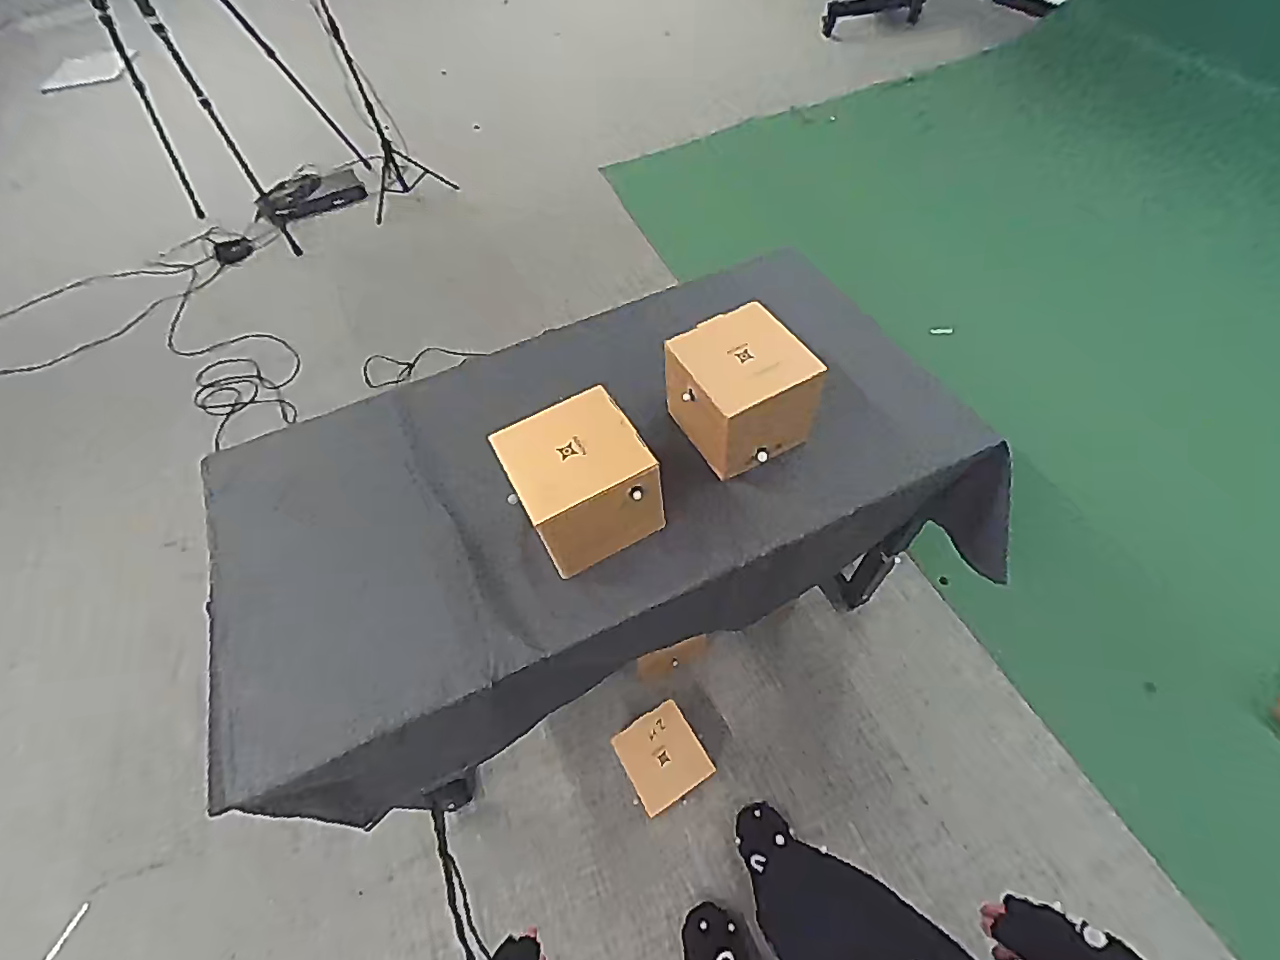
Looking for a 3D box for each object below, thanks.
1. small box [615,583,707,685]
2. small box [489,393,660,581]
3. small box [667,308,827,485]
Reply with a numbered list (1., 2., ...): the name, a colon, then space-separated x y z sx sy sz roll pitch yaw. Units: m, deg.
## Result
1. small box: 0.054 0.393 1.374 0.179 0.176 0.168 -25 58 -10
2. small box: -0.084 0.015 0.766 0.179 0.176 0.168 -27 58 -12
3. small box: 0.153 -0.124 0.833 0.168 0.176 0.179 -26 58 -10
